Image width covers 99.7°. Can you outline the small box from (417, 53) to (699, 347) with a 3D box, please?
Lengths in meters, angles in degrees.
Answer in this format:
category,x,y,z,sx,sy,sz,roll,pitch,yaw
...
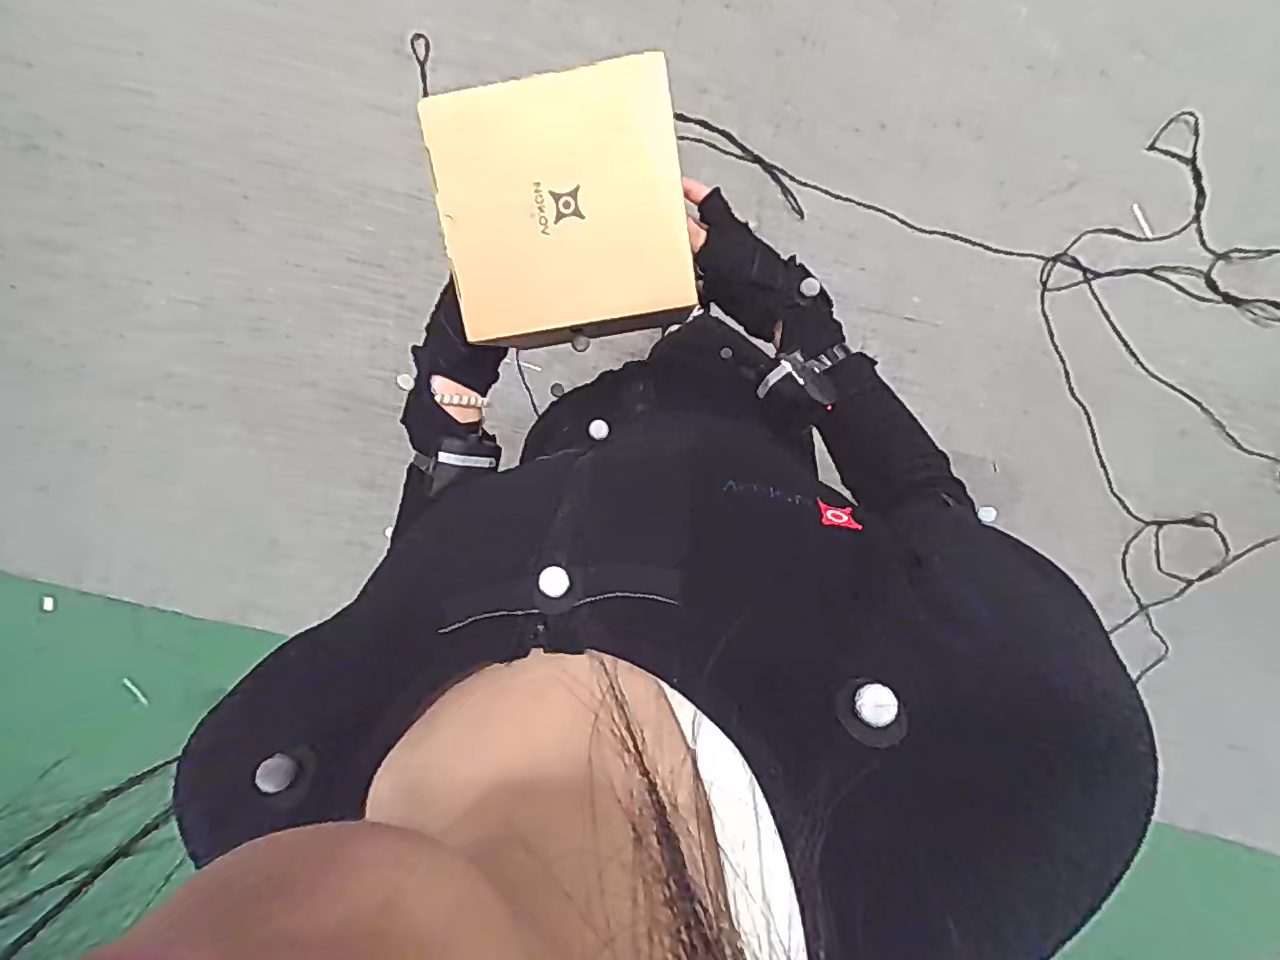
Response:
category,x,y,z,sx,sy,sz,roll,pitch,yaw
small box,-0.052,-0.208,0.454,0.179,0.176,0.168,-8,102,5
